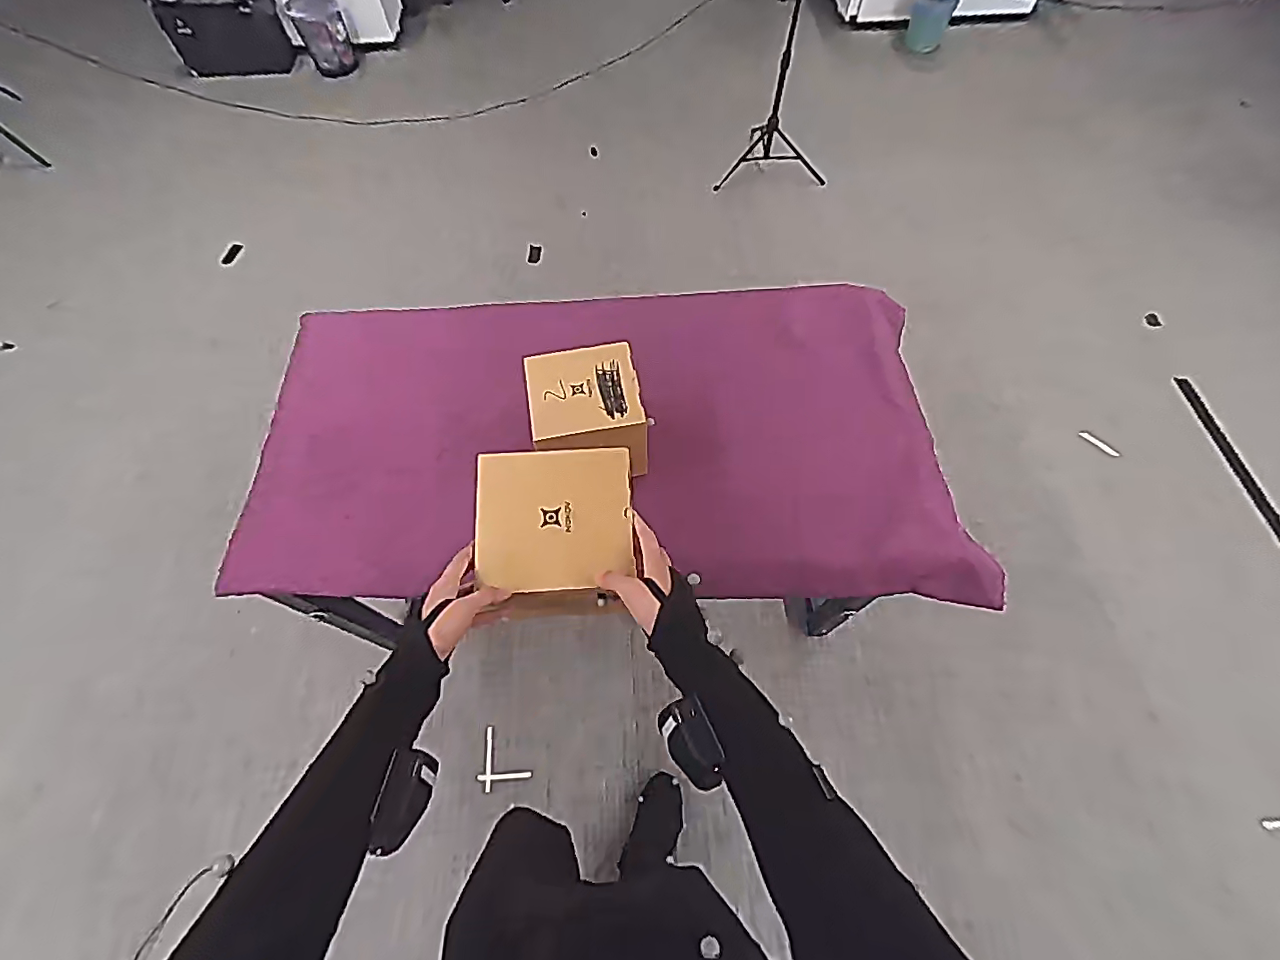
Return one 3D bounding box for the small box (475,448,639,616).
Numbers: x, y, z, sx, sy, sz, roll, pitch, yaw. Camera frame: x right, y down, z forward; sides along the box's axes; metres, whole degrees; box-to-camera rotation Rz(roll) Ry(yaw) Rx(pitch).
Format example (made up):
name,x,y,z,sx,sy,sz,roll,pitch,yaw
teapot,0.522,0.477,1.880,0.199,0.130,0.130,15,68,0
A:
name,x,y,z,sx,sy,sz,roll,pitch,yaw
small box,-0.094,0.071,0.675,0.179,0.176,0.168,-3,68,-4
